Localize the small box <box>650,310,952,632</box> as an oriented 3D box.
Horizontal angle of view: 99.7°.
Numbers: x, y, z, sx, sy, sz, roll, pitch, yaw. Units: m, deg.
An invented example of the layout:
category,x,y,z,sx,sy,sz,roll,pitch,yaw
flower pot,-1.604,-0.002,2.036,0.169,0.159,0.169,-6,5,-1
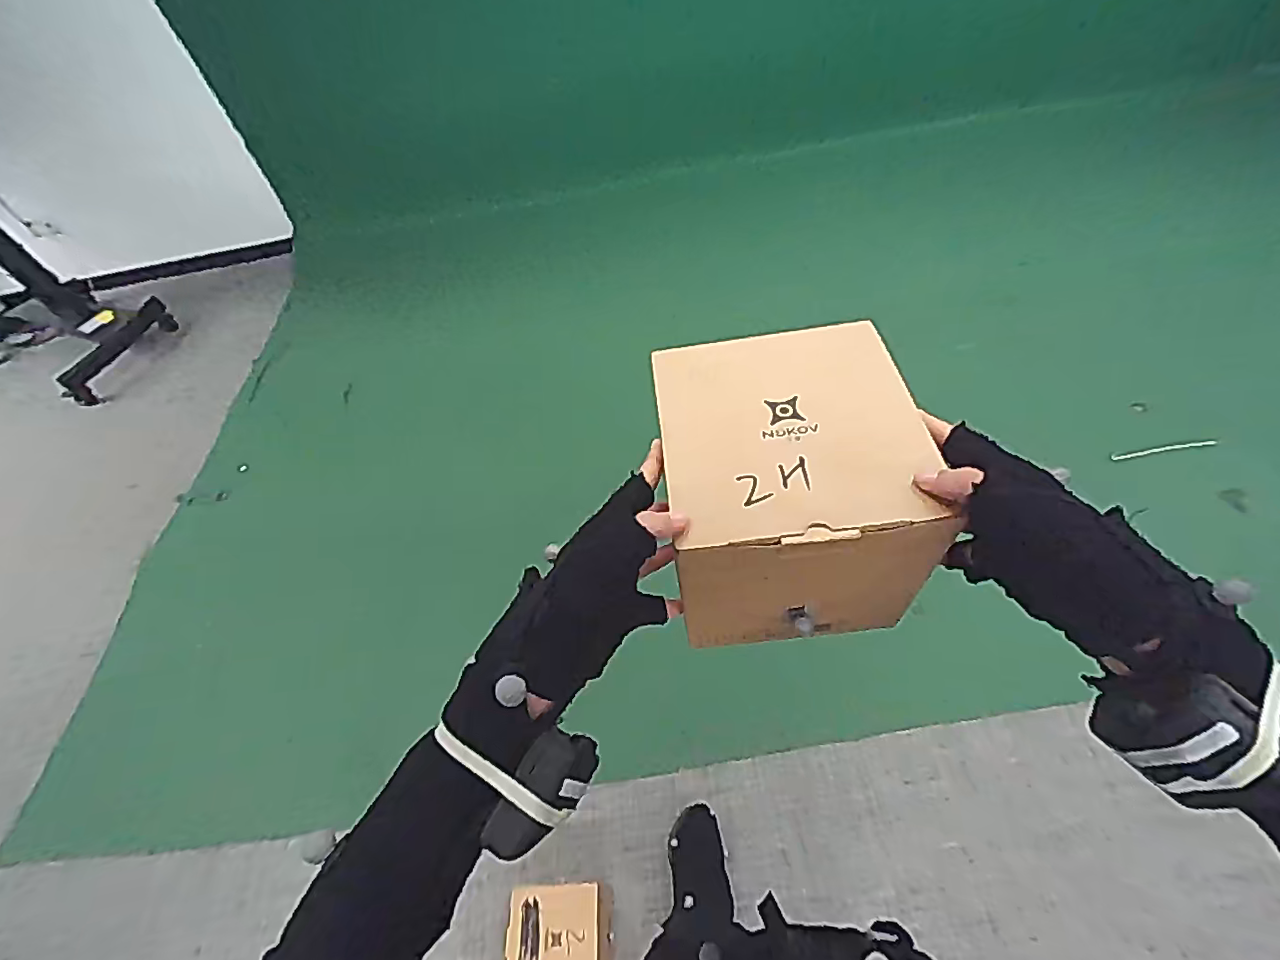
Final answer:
category,x,y,z,sx,sy,sz,roll,pitch,yaw
small box,0.100,-0.001,0.419,0.168,0.176,0.179,-7,54,5
